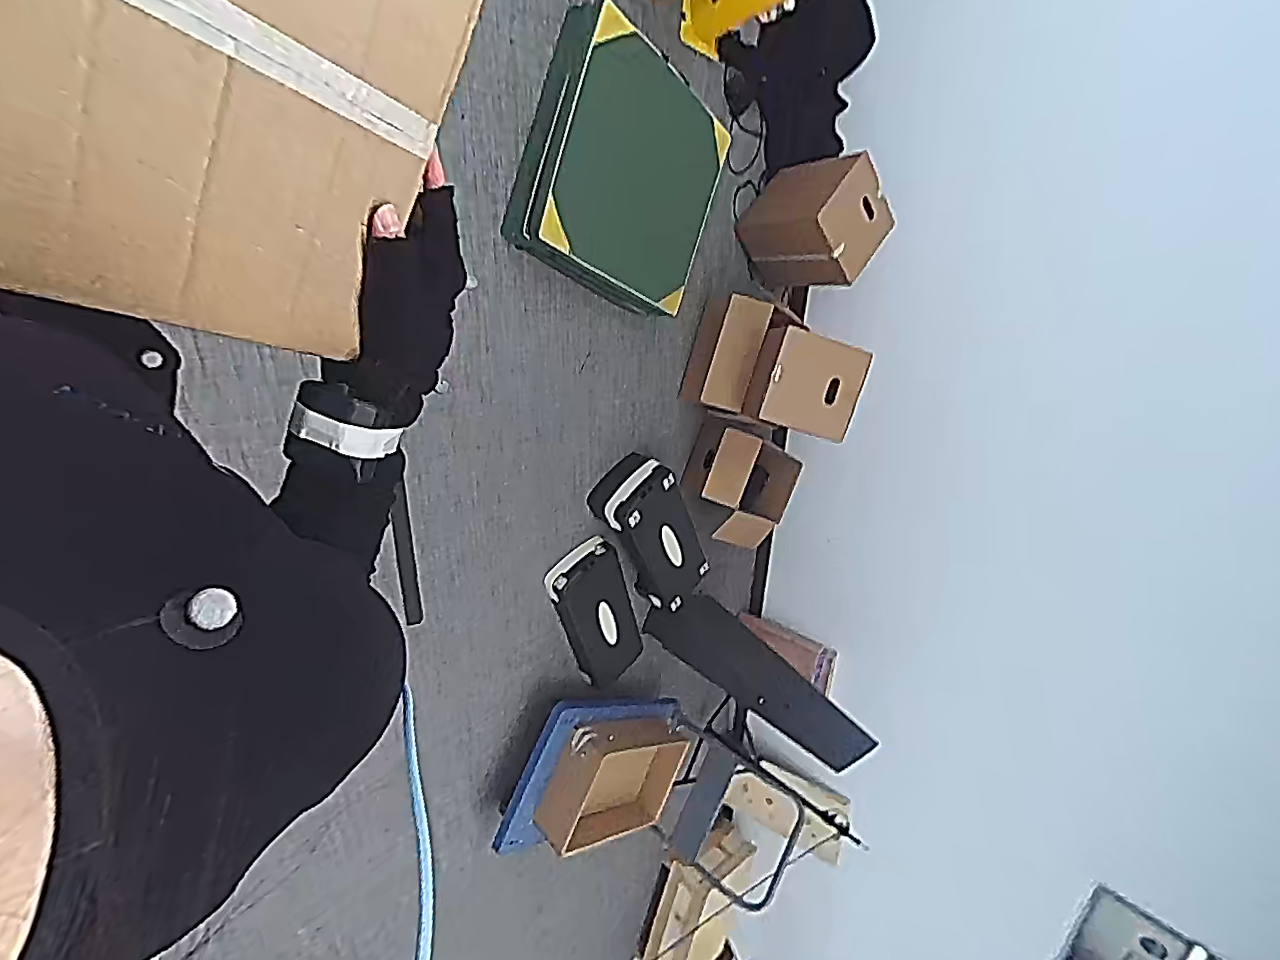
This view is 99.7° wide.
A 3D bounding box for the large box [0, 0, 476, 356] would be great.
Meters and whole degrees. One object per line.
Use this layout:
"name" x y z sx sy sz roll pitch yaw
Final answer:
"large box" -0.352 -0.309 0.277 0.408 0.320 0.320 5 125 -48
